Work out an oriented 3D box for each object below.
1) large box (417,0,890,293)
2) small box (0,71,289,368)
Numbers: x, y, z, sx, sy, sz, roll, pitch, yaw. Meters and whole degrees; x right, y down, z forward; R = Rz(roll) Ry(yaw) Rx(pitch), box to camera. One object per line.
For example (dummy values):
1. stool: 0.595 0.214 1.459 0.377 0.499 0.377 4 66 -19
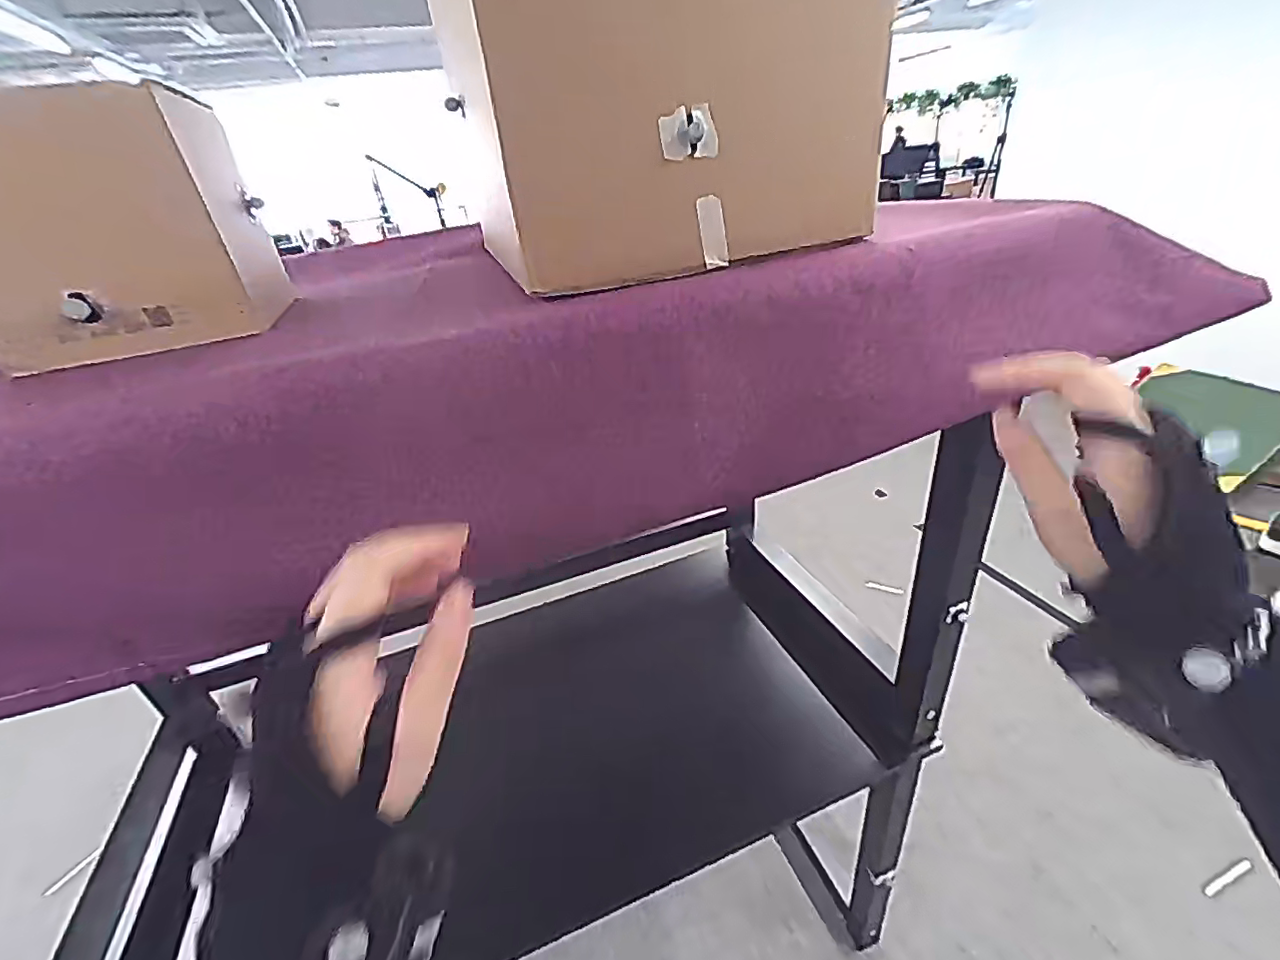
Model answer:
1. large box: -0.021 -0.388 0.525 0.320 0.320 0.408 -15 30 -14
2. small box: -0.410 -0.201 0.429 0.168 0.176 0.179 -18 32 -15
